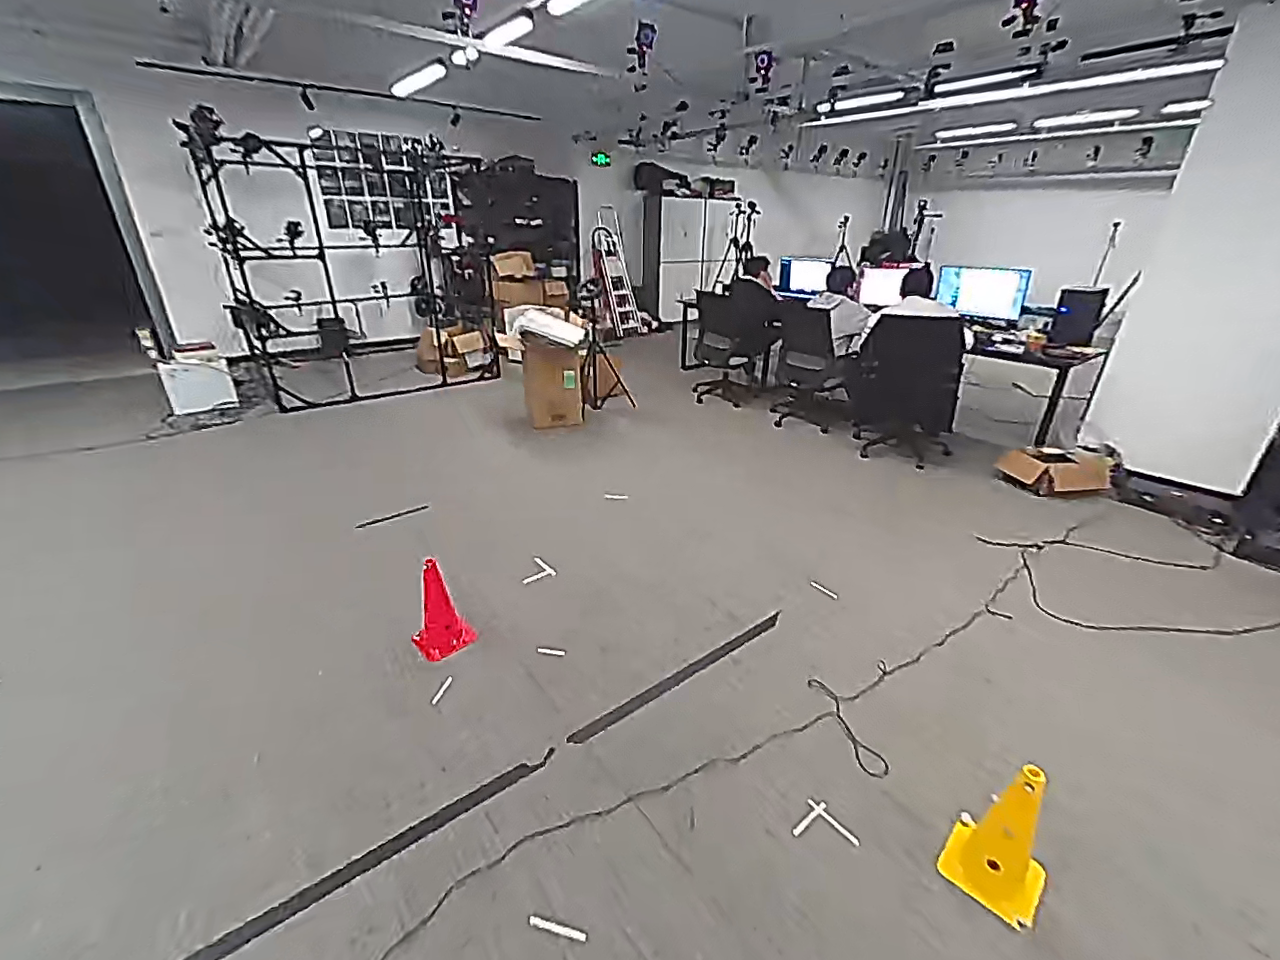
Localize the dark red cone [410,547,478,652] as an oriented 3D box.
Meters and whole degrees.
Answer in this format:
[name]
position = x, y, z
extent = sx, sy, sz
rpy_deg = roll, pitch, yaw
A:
[dark red cone]
position = -0.751, 0.426, 2.009
extent = 0.202, 0.394, 0.201
rpy_deg = -22, 34, -40
